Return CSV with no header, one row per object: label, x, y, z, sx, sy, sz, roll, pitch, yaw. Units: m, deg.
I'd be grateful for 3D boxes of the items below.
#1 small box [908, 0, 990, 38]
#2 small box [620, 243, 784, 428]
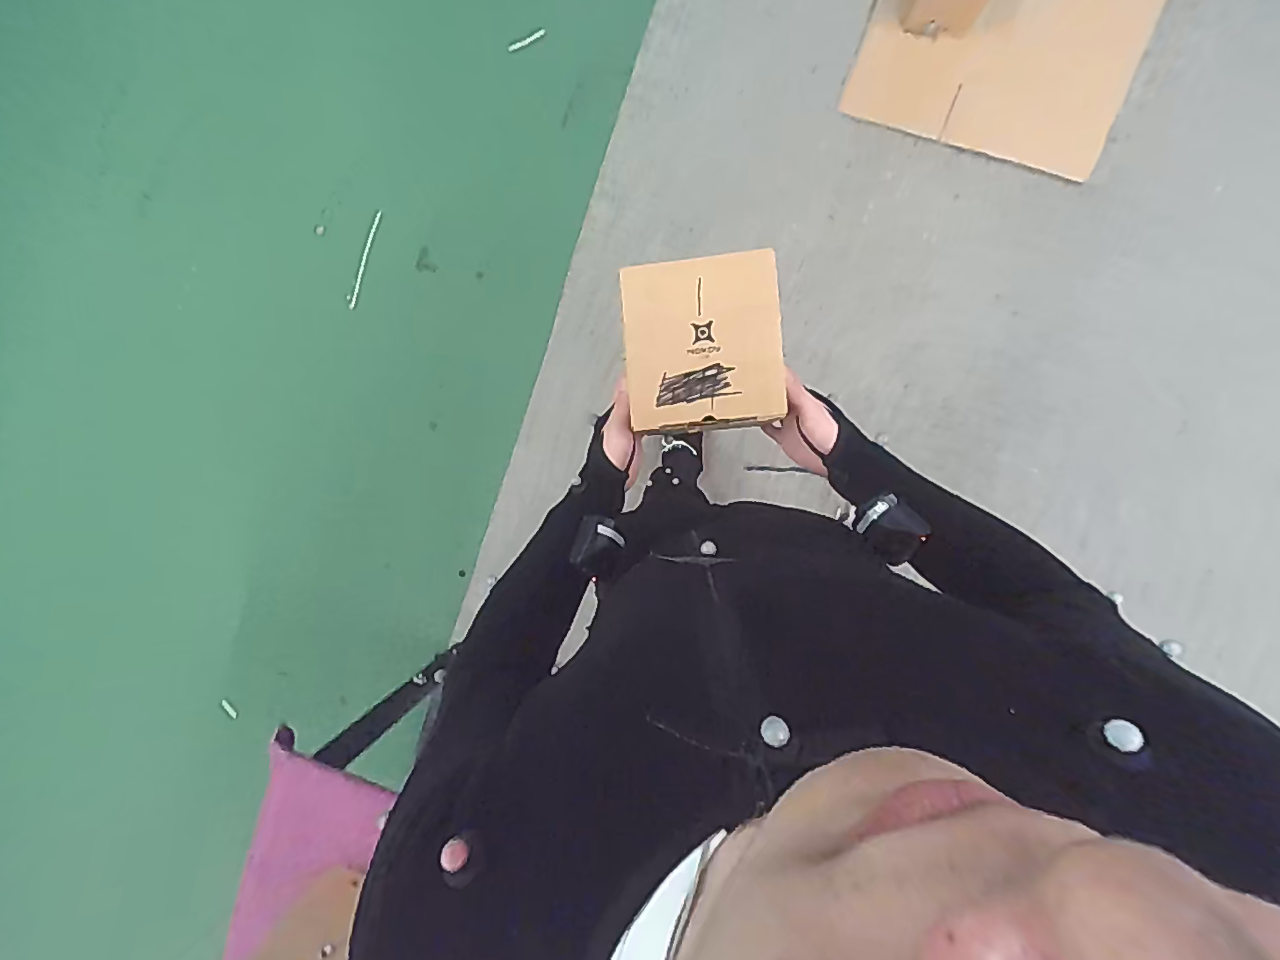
small box,0.803,-1.277,1.362,0.168,0.176,0.179,14,95,7
small box,0.074,-0.154,0.640,0.168,0.176,0.179,-4,91,6
